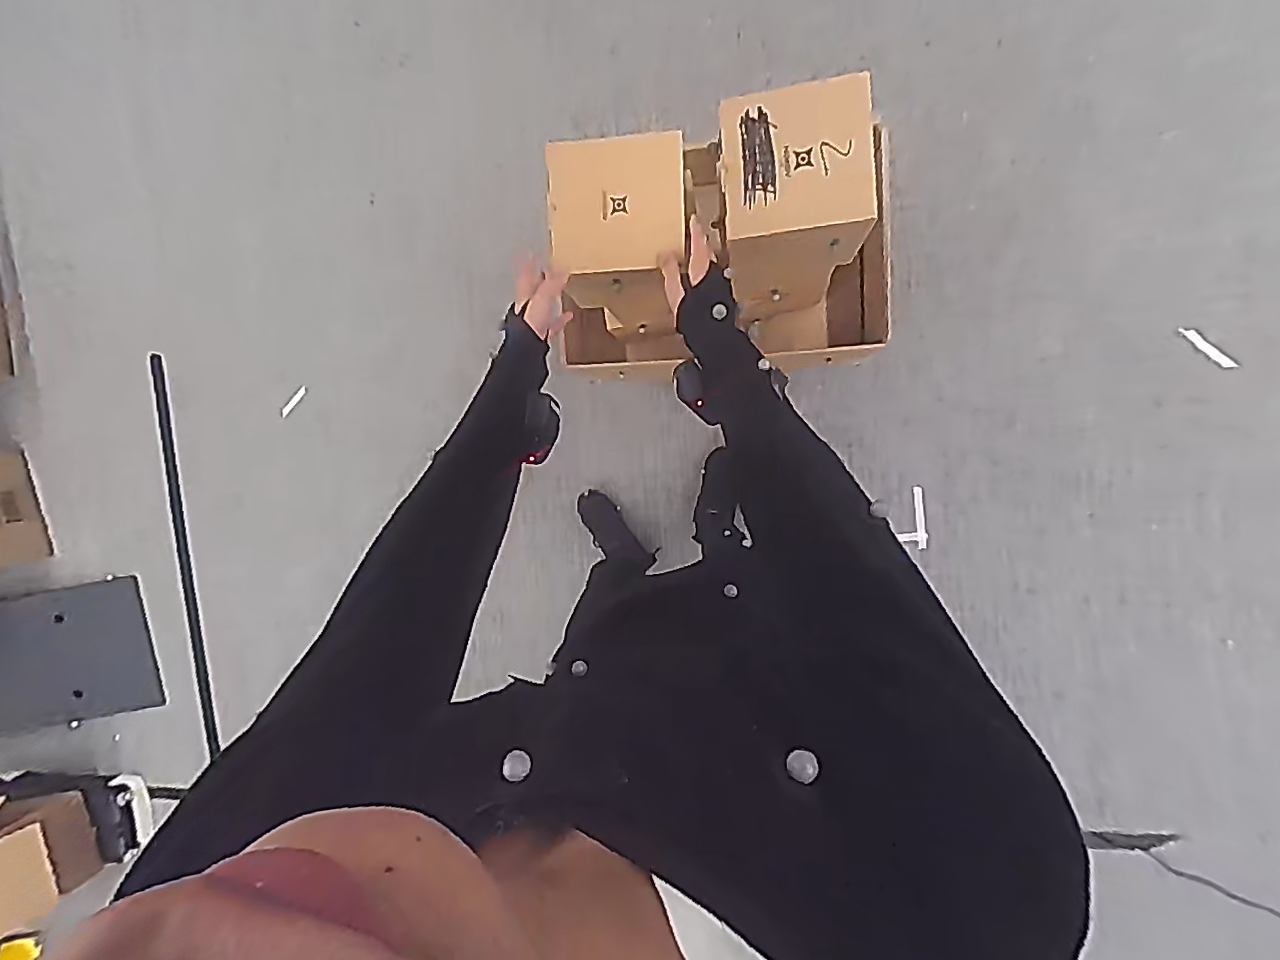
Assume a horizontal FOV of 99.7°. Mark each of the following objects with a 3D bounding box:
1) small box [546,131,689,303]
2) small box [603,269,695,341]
[{"bbox_3d":[-0.021,-0.354,0.758,0.179,0.176,0.168,-2,95,8],"label":"small box"},{"bbox_3d":[0.016,-0.391,1.078,0.168,0.176,0.179,-8,93,10],"label":"small box"}]
